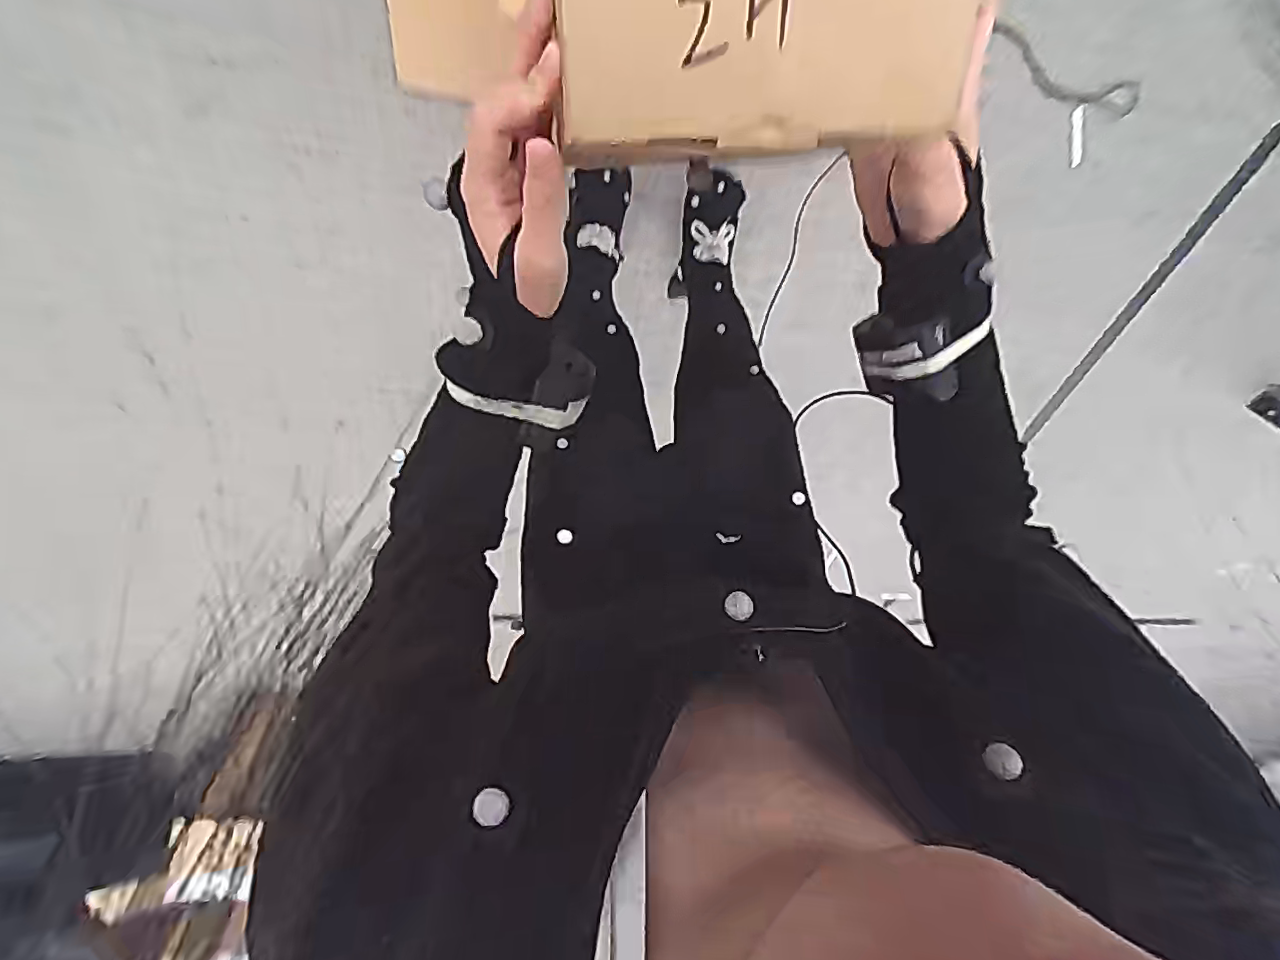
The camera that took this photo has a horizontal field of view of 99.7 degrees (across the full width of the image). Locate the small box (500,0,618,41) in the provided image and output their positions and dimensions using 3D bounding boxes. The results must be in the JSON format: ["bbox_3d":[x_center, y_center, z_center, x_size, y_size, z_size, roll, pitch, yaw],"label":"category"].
[{"bbox_3d":[-0.110,-0.772,0.781,0.168,0.176,0.179,5,133,-13],"label":"small box"}]
